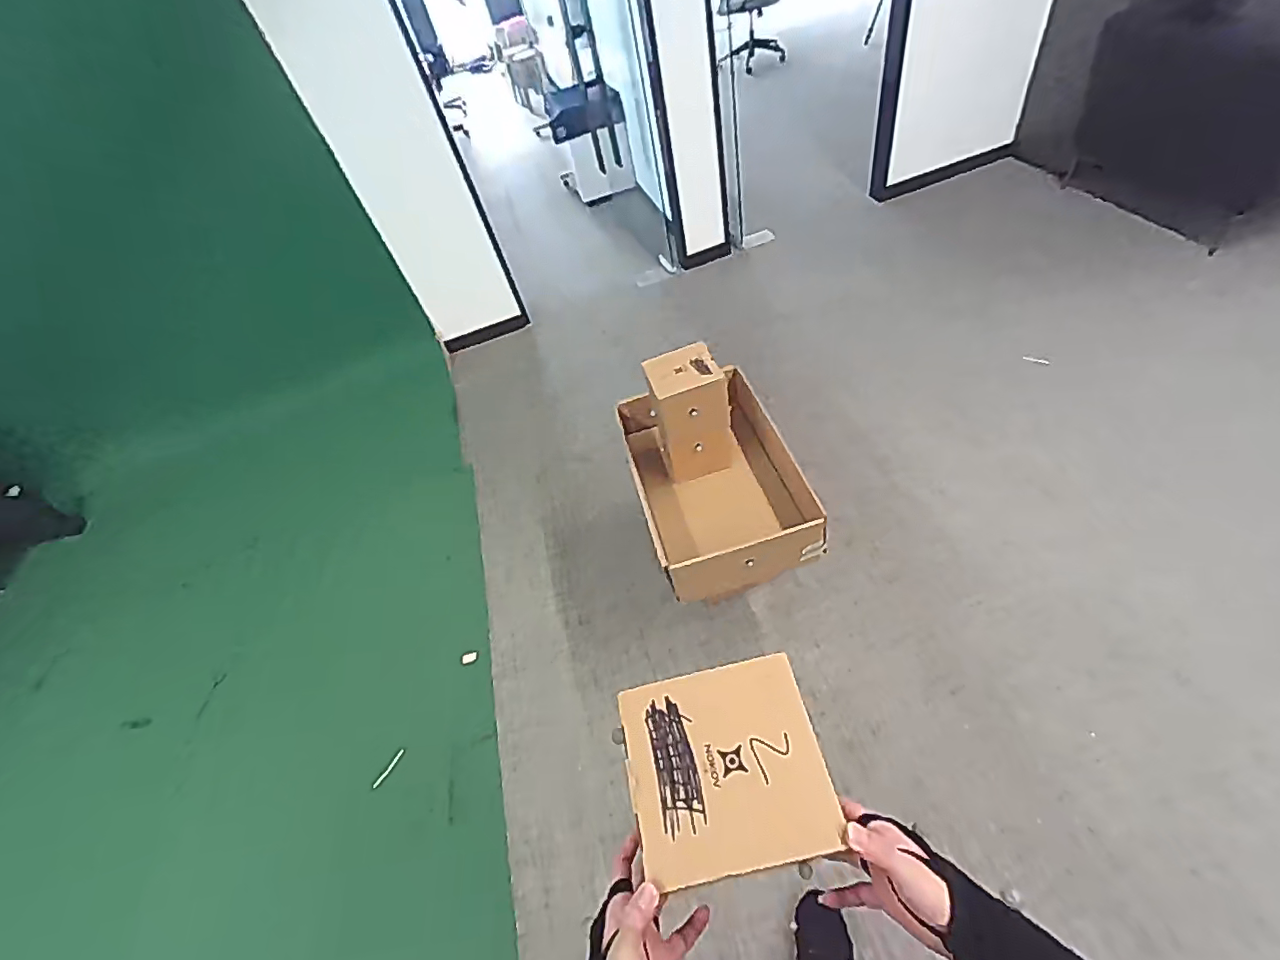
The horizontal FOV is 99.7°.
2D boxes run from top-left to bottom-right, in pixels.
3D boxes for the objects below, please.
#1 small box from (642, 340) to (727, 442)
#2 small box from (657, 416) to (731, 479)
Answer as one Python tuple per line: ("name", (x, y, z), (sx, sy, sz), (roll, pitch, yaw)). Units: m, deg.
("small box", (0.122, -0.230, 1.409), (0.179, 0.176, 0.168), (-19, 49, 0))
("small box", (0.153, -0.130, 1.536), (0.179, 0.176, 0.168), (-18, 49, 0))
